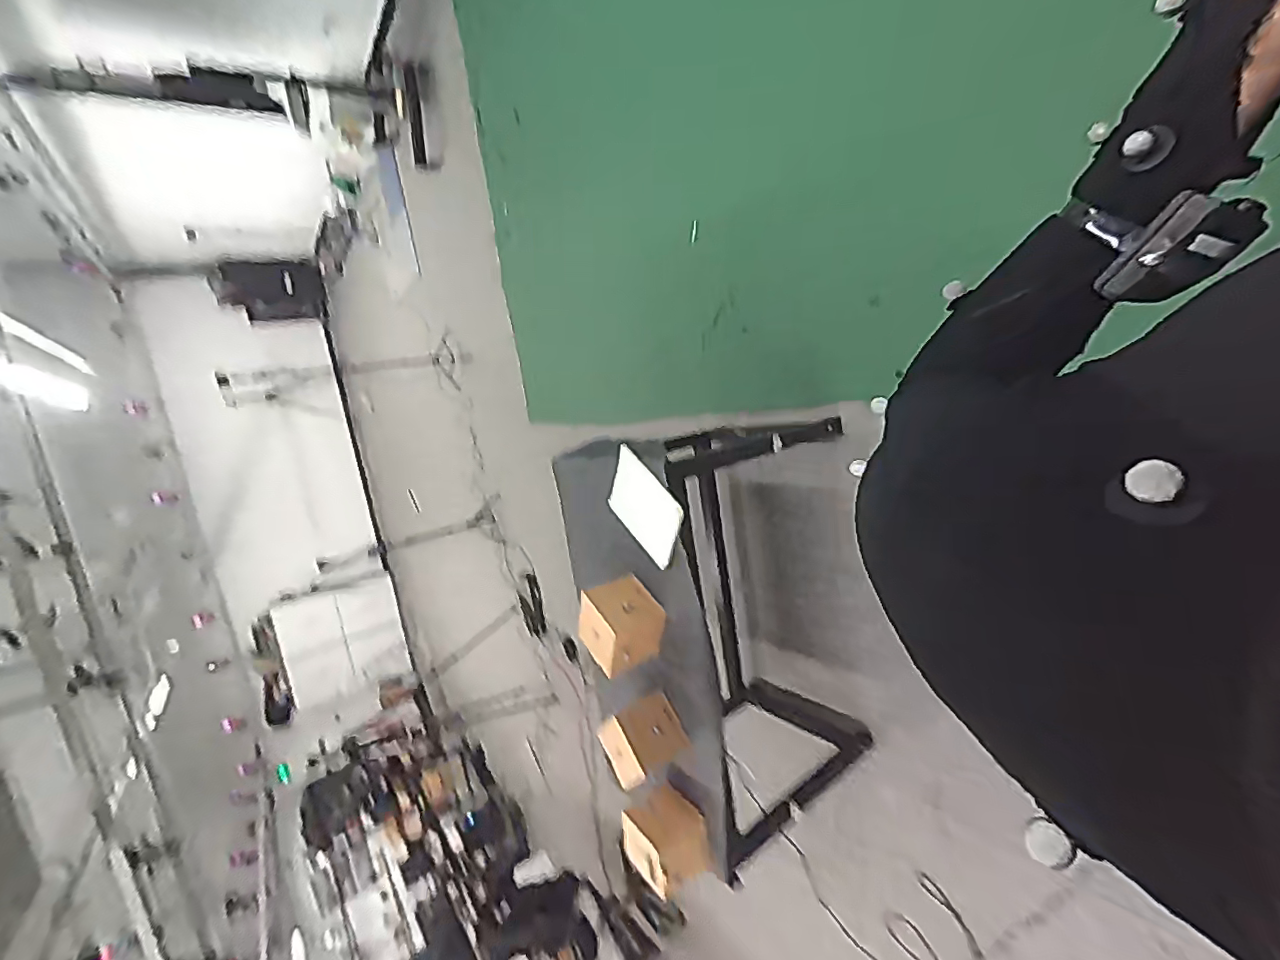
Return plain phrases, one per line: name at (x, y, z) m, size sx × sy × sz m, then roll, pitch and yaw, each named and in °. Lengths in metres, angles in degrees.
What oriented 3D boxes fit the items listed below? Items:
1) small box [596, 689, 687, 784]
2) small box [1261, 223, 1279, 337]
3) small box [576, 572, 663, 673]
small box at (0.007, 0.716, 1.520) m, size 0.168 × 0.176 × 0.179 m, roll 57°, pitch 143°, yaw 24°
small box at (1.105, -0.314, 0.820) m, size 0.179 × 0.168 × 0.176 m, roll -13°, pitch 122°, yaw 33°
small box at (-0.055, 0.381, 1.473) m, size 0.168 × 0.176 × 0.179 m, roll 41°, pitch 135°, yaw 39°
